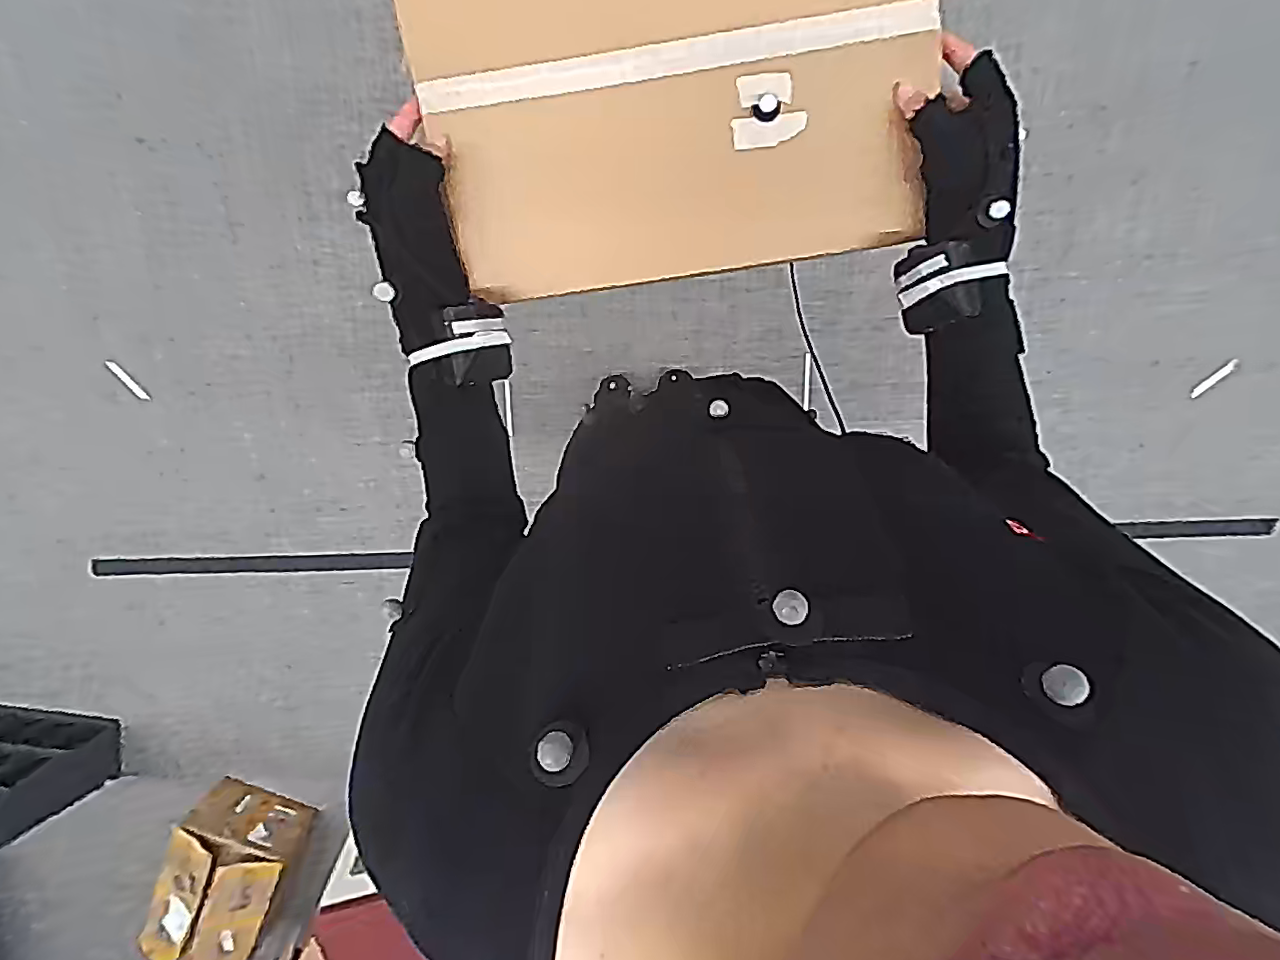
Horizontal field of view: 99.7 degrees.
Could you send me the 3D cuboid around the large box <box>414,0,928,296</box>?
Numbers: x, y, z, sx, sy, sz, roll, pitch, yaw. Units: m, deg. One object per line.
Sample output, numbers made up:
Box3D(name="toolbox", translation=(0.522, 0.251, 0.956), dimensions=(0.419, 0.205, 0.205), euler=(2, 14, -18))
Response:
Box3D(name="large box", translation=(0.026, -0.384, 0.573), dimensions=(0.408, 0.320, 0.320), euler=(-7, 110, 1))
